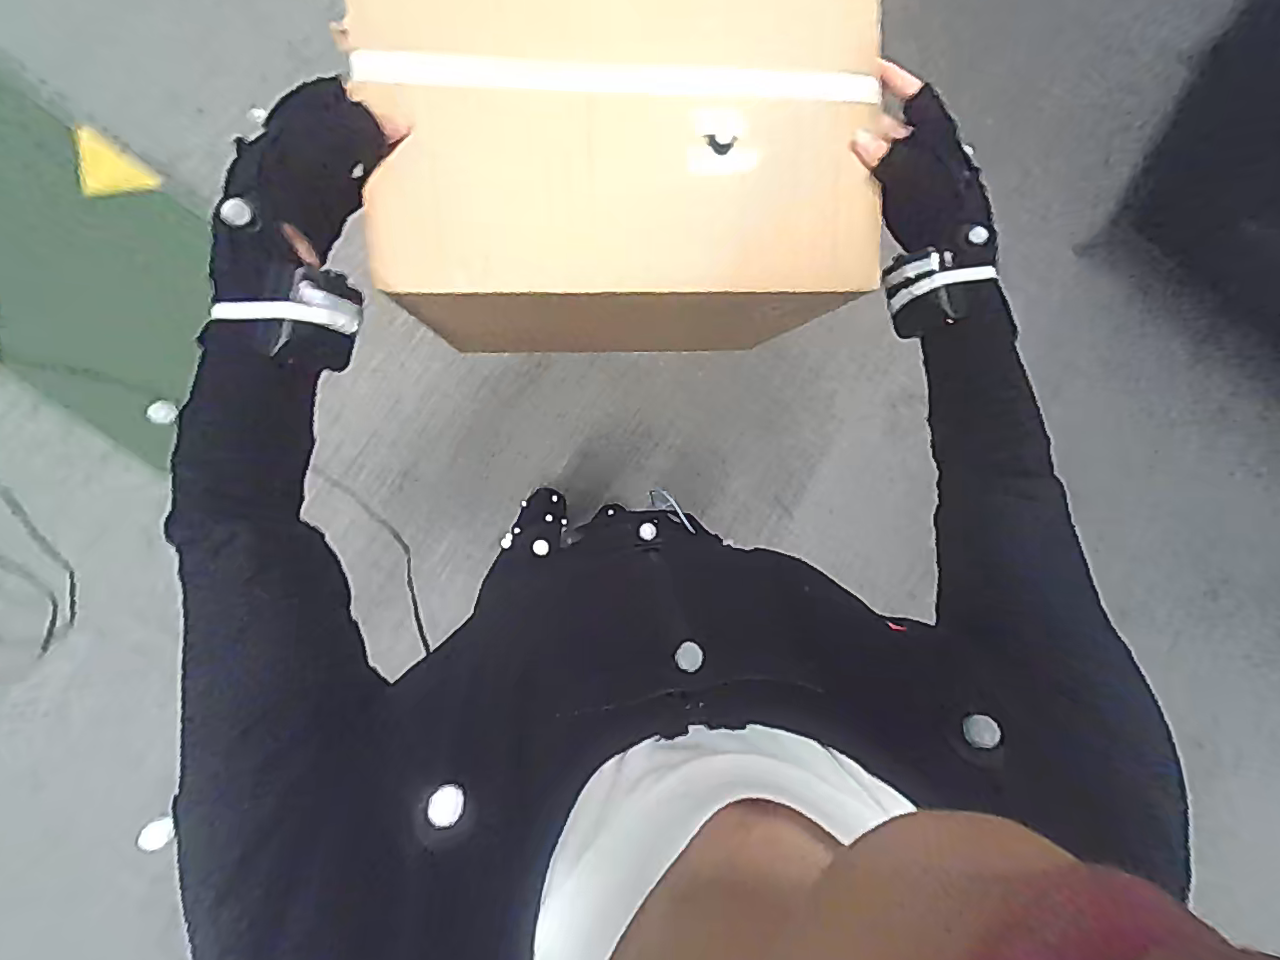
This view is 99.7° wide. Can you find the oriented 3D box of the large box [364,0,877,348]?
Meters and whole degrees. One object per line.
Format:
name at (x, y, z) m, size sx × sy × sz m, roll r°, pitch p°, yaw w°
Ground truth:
large box at (-0.026, -0.326, 0.567) m, size 0.408 × 0.320 × 0.320 m, roll -4°, pitch 96°, yaw -9°
